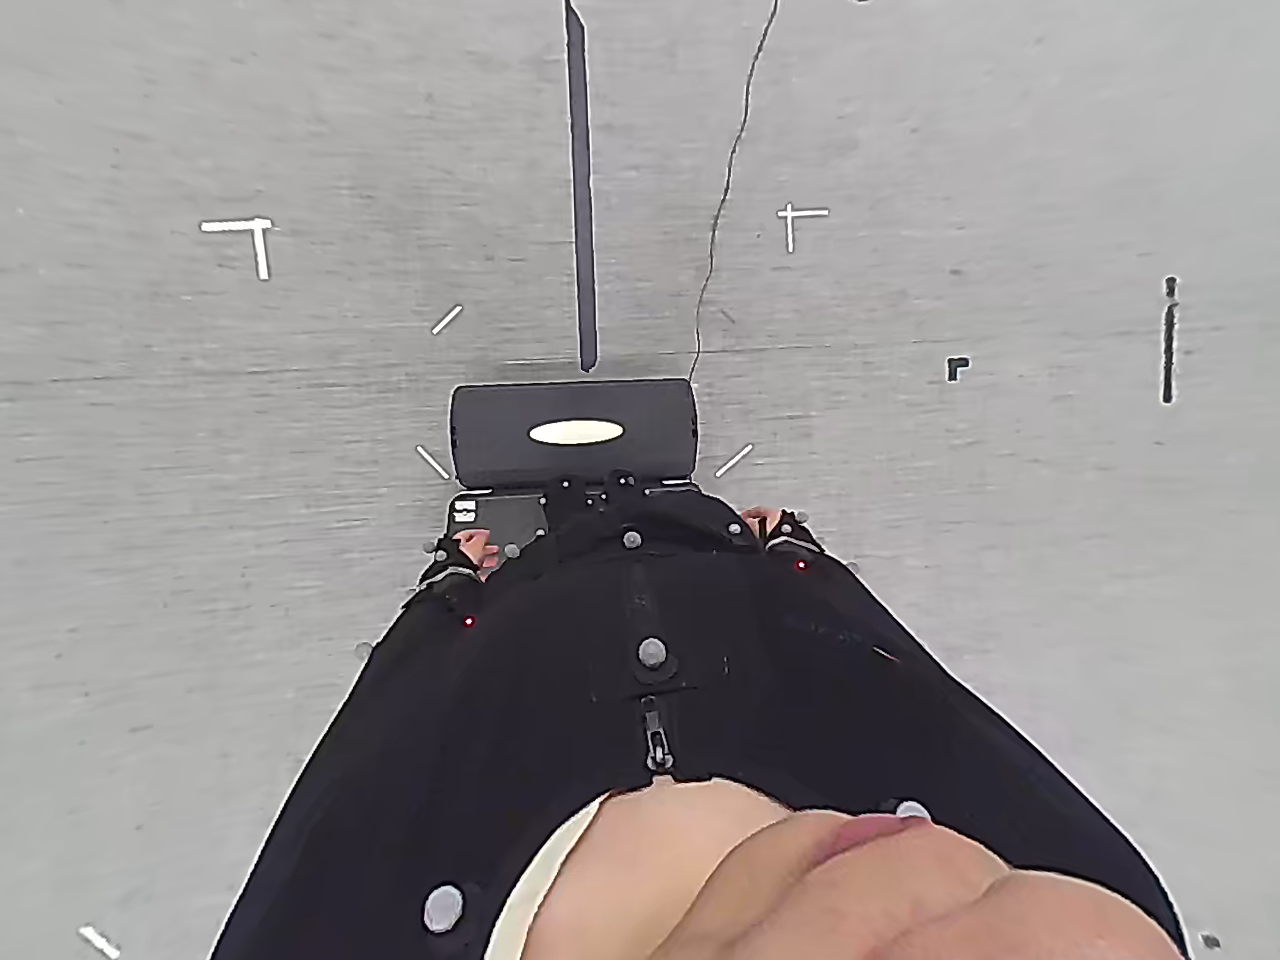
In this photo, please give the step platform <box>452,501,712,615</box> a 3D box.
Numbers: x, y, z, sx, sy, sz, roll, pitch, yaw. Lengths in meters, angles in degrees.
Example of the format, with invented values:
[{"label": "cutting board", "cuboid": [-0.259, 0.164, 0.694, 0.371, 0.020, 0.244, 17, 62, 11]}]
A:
[{"label": "step platform", "cuboid": [-0.148, 0.208, 1.463, 0.684, 0.204, 0.286, 1, 91, -4]}]
